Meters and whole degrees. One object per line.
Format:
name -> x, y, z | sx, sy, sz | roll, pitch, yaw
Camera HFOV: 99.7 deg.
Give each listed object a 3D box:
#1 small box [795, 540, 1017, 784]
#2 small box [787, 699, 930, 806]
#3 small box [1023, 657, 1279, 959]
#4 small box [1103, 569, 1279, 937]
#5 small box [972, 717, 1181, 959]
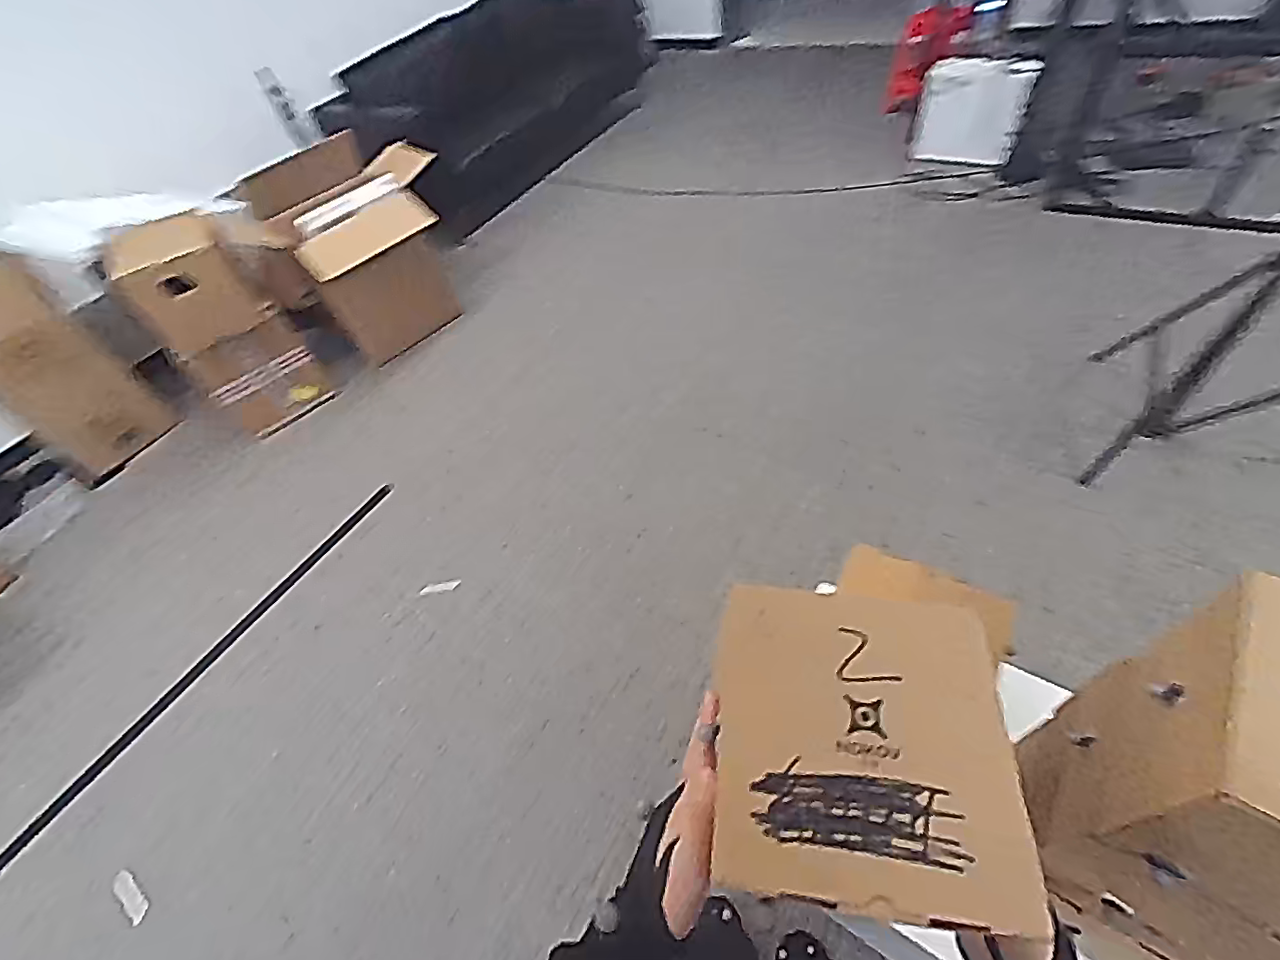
small box -> 0.284, 0.206, 0.607 | 0.168, 0.176, 0.179 | 22, 58, 26
small box -> 0.308, 0.304, 0.734 | 0.168, 0.176, 0.179 | 21, 59, 26
small box -> 0.483, 0.301, 0.489 | 0.168, 0.176, 0.179 | 24, 60, 29
small box -> 0.455, 0.201, 0.362 | 0.168, 0.176, 0.179 | 25, 58, 29
small box -> 0.503, 0.409, 0.609 | 0.168, 0.176, 0.179 | 24, 61, 27
